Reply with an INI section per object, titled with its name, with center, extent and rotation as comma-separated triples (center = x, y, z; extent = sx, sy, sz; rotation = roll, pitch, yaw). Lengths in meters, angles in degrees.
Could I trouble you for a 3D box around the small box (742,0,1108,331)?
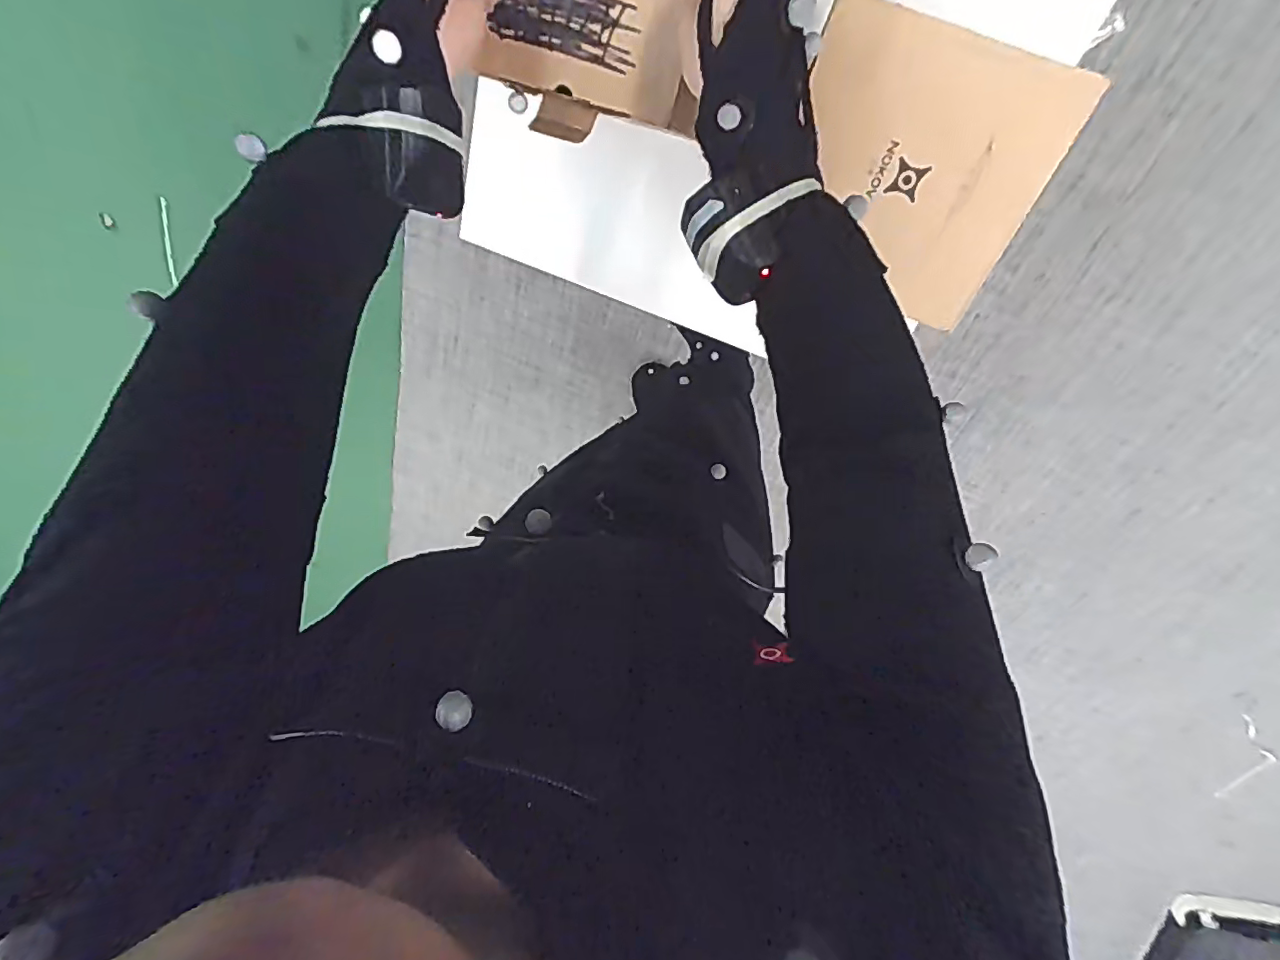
[small box]
center = 0.199, -0.245, 0.440
extent = 0.179, 0.176, 0.168
rotation = 21, 123, 2
